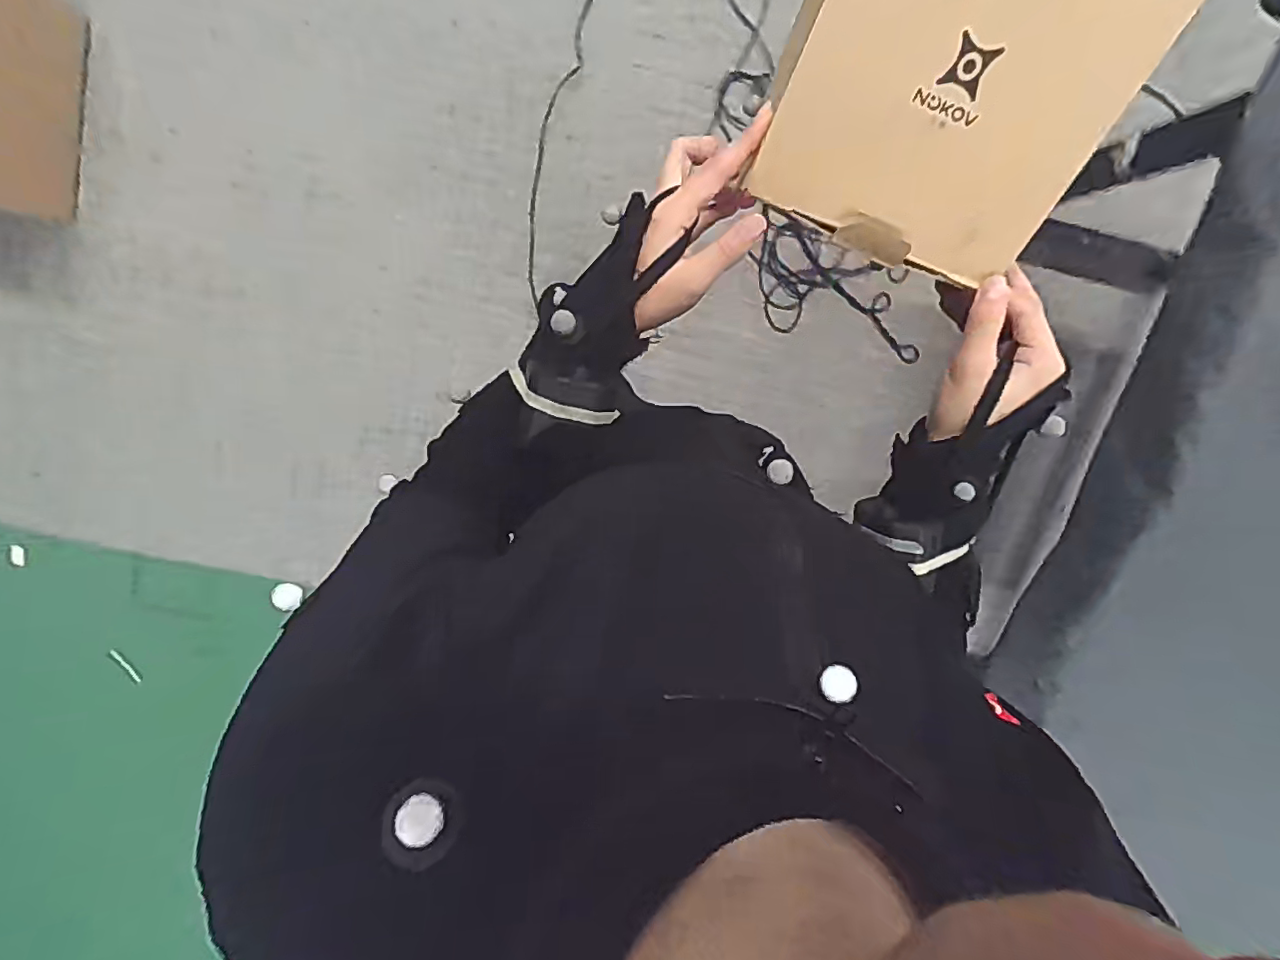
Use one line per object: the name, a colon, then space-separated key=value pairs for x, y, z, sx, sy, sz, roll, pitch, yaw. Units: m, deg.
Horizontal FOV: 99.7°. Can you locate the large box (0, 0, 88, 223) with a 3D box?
large box: x=-1.287 y=-0.735 z=0.954 sx=0.320 sy=0.320 sz=0.408 roll=17 pitch=102 yaw=-7
